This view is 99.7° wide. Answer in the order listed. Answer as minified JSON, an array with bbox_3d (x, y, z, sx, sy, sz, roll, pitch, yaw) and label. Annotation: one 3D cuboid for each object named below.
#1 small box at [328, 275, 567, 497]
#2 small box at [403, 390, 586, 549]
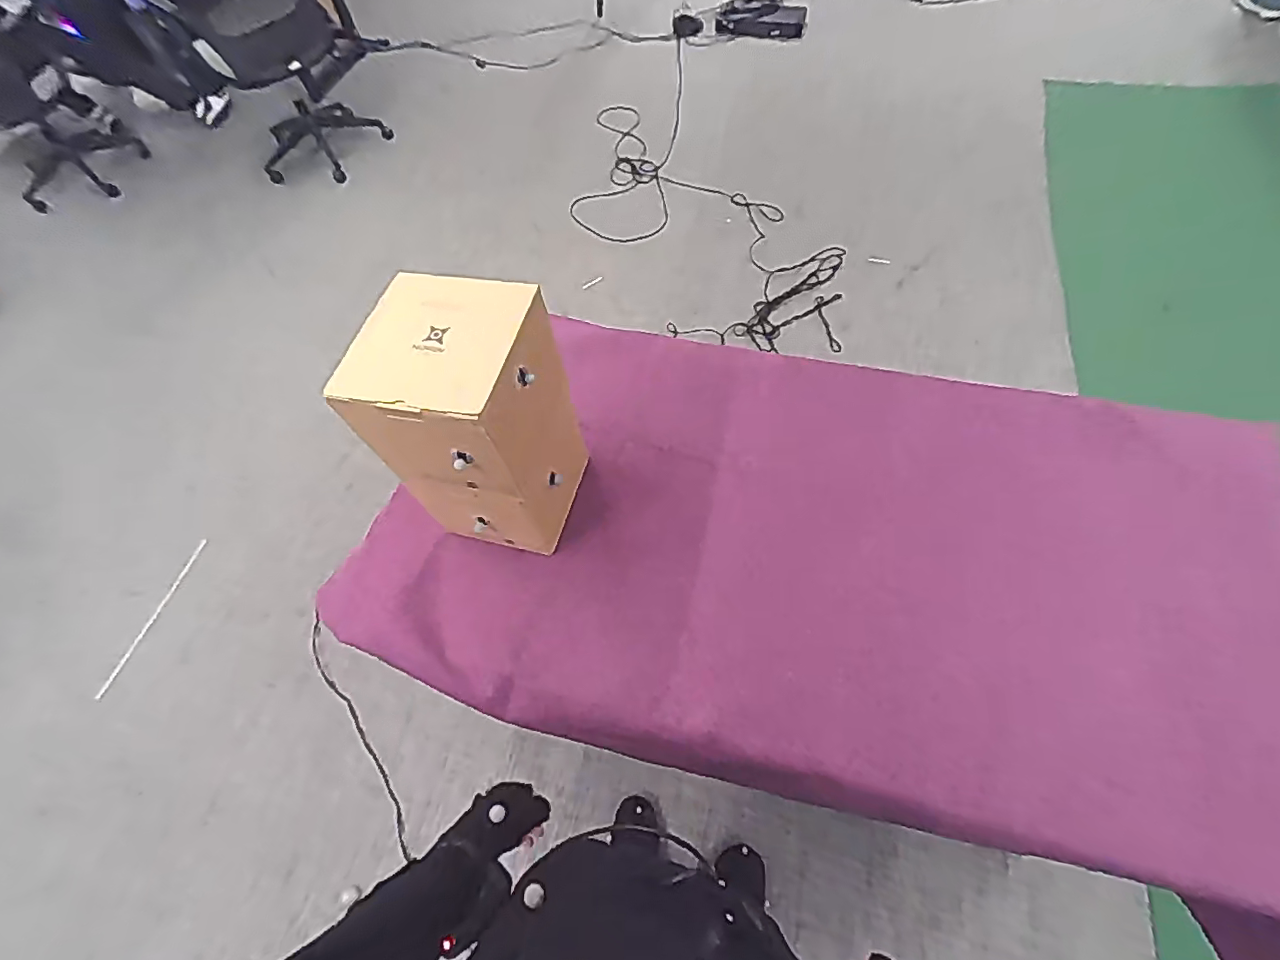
[{"bbox_3d":[-0.193,-0.099,0.606,0.168,0.176,0.179,9,61,11],"label":"small box"},{"bbox_3d":[-0.184,-0.022,0.750,0.168,0.176,0.179,11,62,12],"label":"small box"}]
